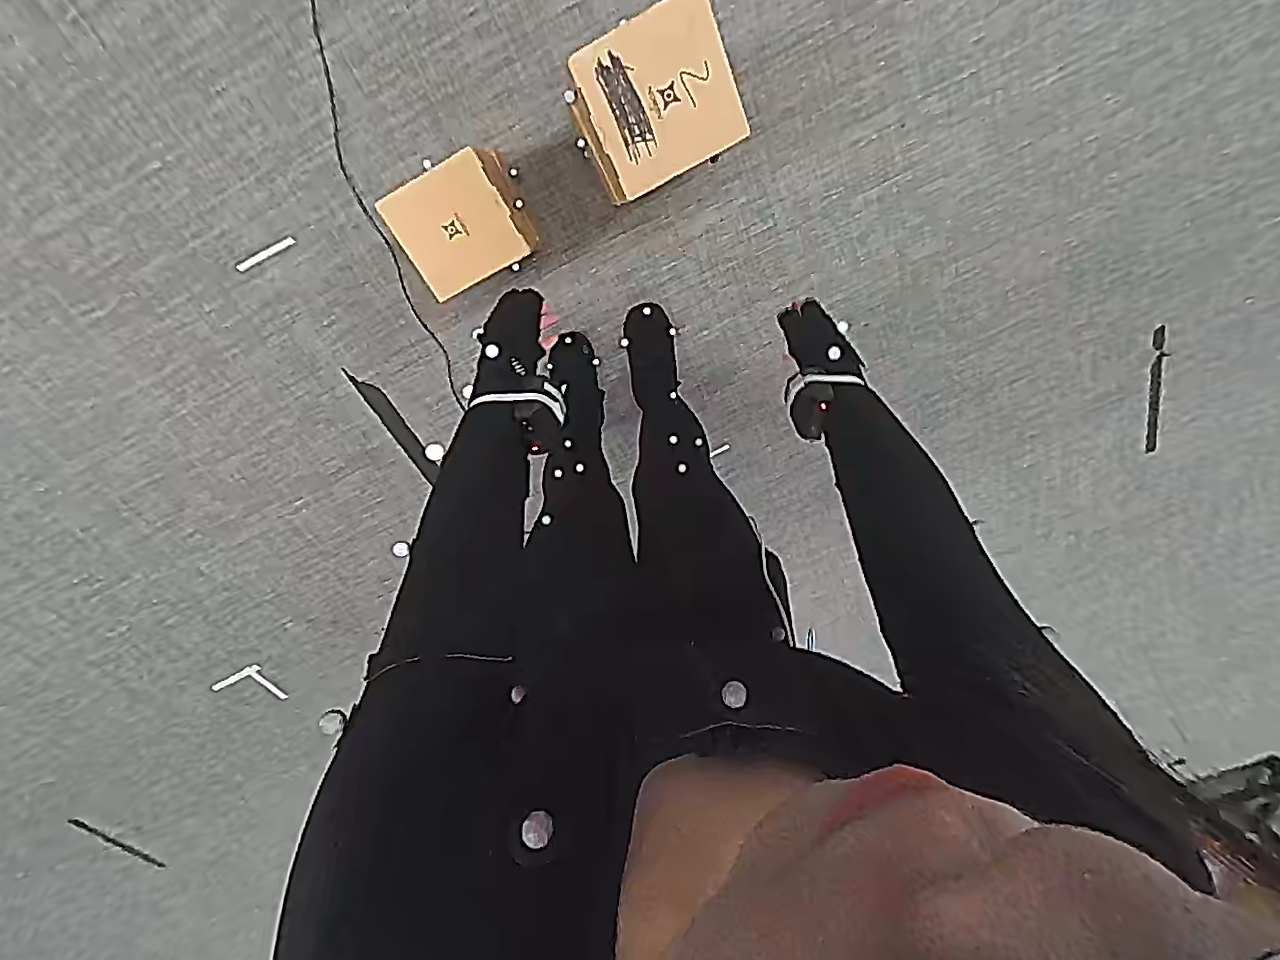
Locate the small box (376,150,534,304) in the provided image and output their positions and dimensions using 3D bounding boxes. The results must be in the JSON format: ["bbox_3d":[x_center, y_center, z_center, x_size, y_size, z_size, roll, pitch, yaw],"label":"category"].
[{"bbox_3d":[-0.295,-0.423,0.909,0.179,0.176,0.168,-26,118,8],"label":"small box"}]

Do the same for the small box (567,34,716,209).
[{"bbox_3d":[-0.005,-0.559,0.865,0.179,0.176,0.168,-27,118,7],"label":"small box"}]

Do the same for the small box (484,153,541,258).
[{"bbox_3d":[-0.305,-0.504,1.049,0.168,0.176,0.179,-23,120,6],"label":"small box"}]
